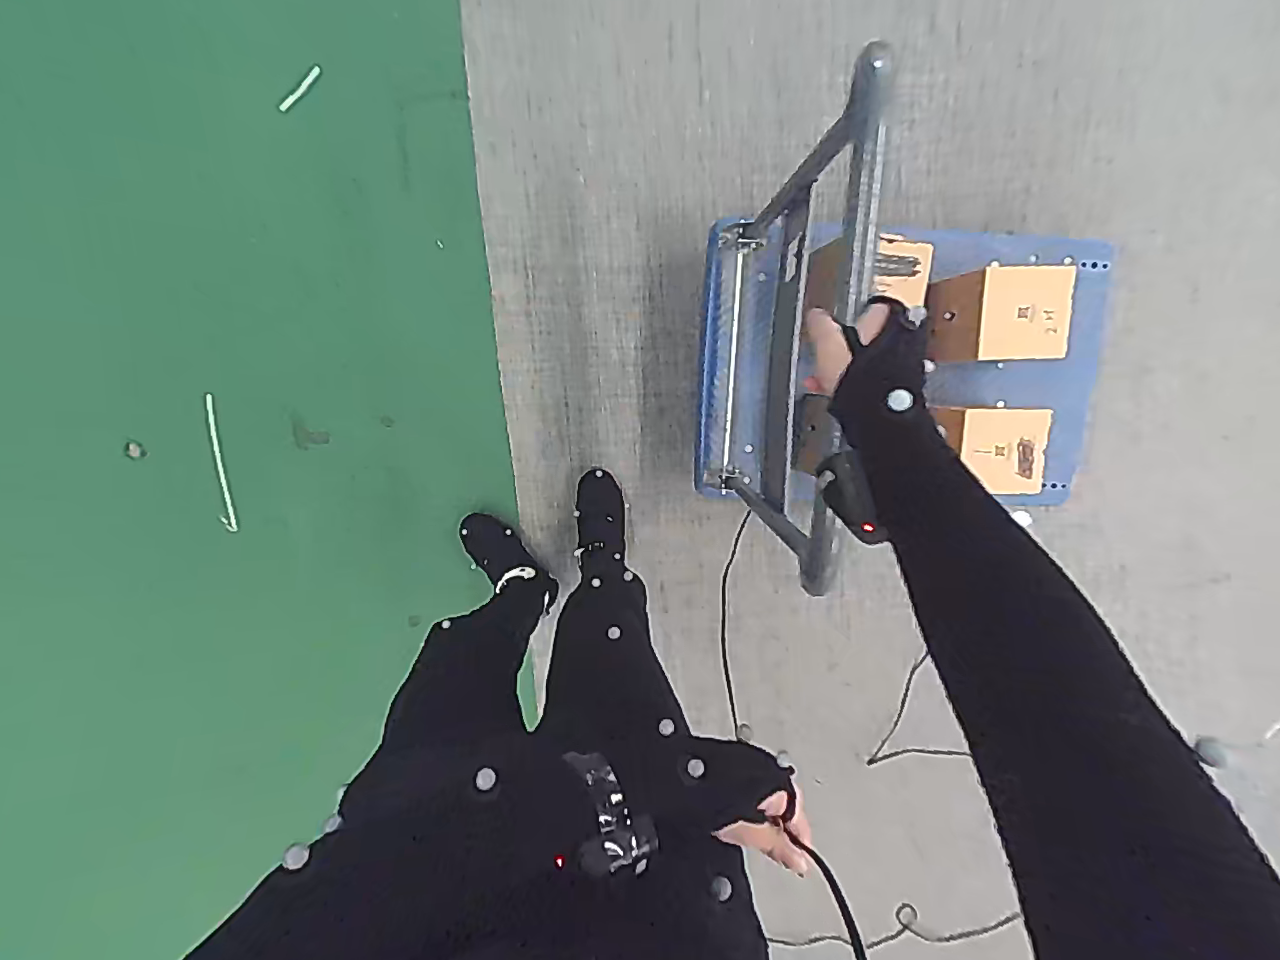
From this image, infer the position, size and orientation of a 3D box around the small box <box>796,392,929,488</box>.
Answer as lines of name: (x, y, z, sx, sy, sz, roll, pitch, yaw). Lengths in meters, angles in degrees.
small box: (0.435, -0.086, 1.083, 0.179, 0.176, 0.168, 4, 100, -5)

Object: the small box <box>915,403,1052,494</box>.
small box: (0.683, -0.069, 1.104, 0.179, 0.176, 0.168, 1, 100, -4)

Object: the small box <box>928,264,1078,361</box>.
small box: (0.695, -0.320, 1.057, 0.179, 0.176, 0.168, -1, 102, -4)
